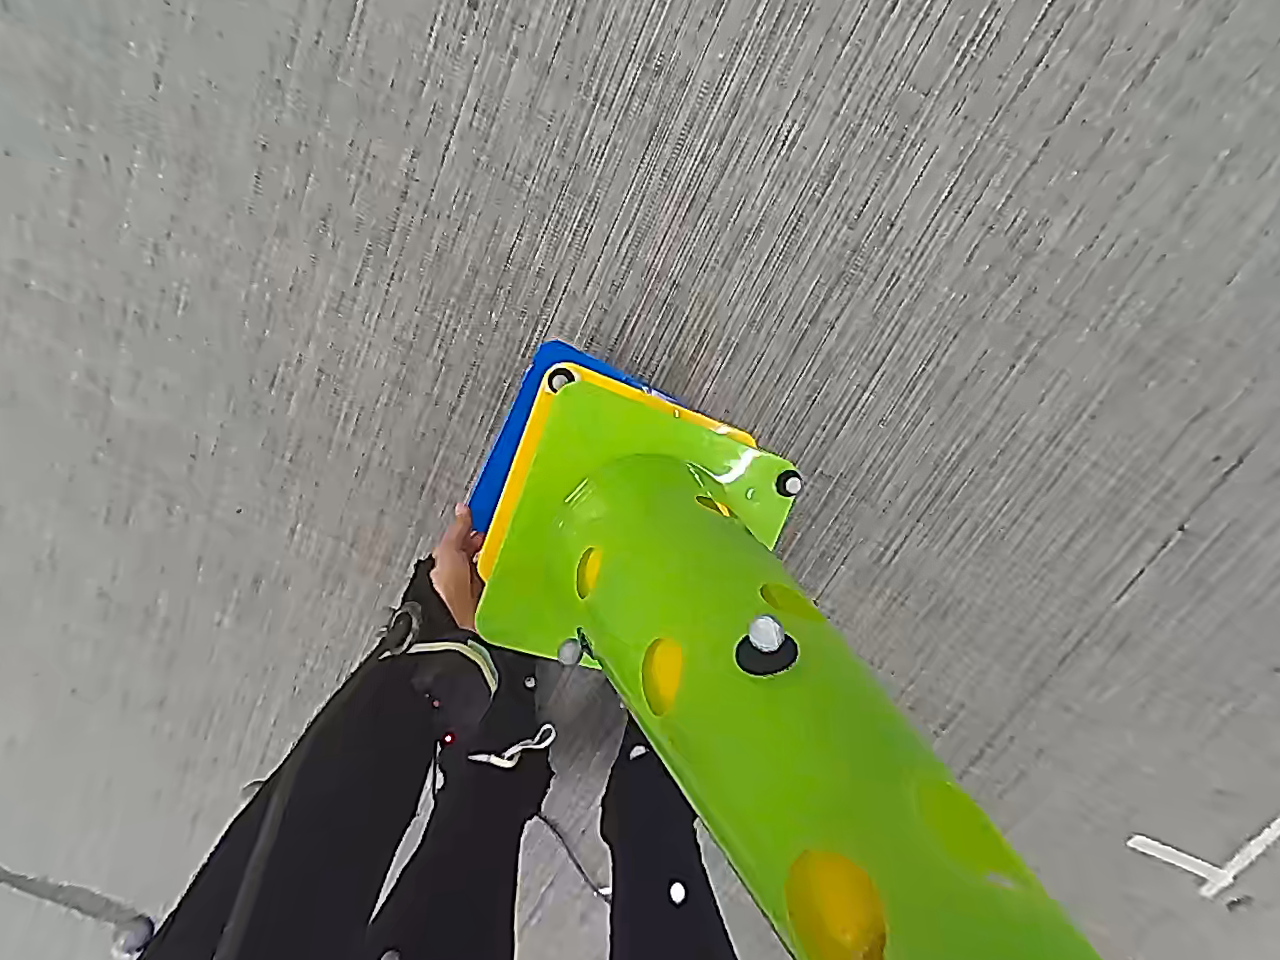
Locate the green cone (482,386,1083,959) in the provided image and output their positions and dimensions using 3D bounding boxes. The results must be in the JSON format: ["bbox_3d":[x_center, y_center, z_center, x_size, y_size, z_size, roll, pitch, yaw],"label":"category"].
[{"bbox_3d":[0.046,0.089,0.231,0.200,0.368,0.202,18,98,-16],"label":"green cone"}]
